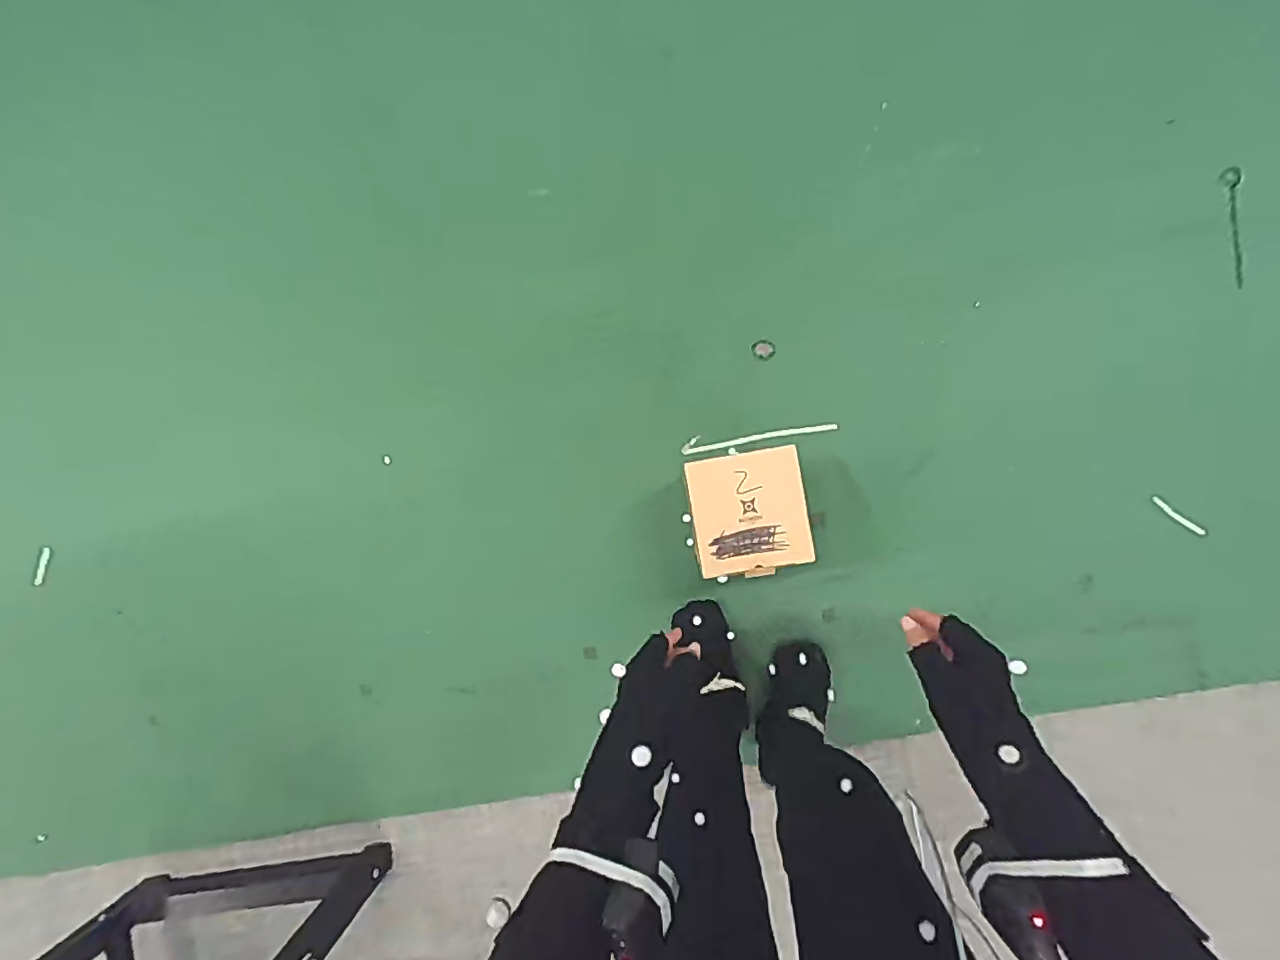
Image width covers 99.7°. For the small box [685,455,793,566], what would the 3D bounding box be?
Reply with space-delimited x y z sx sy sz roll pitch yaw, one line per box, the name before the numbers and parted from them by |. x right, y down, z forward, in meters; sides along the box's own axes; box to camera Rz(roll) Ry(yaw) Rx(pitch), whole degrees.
small box | 0.181 0.055 1.033 0.168 0.176 0.179 -10 89 4
